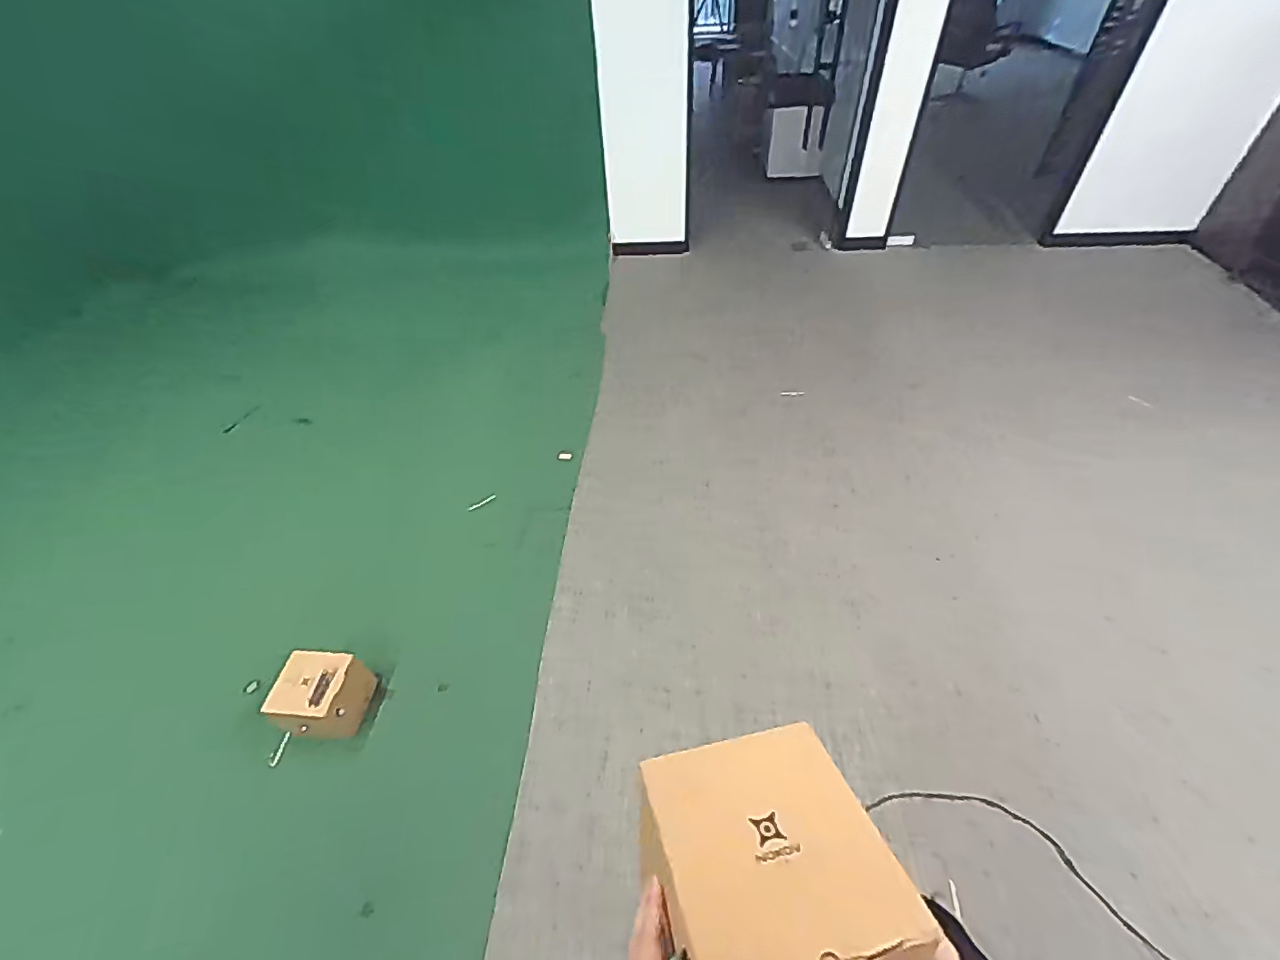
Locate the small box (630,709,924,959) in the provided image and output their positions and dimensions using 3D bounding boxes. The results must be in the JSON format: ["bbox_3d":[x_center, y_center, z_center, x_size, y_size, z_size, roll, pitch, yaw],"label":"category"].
[{"bbox_3d":[0.090,0.332,0.447,0.168,0.176,0.179,-8,26,-14],"label":"small box"}]
